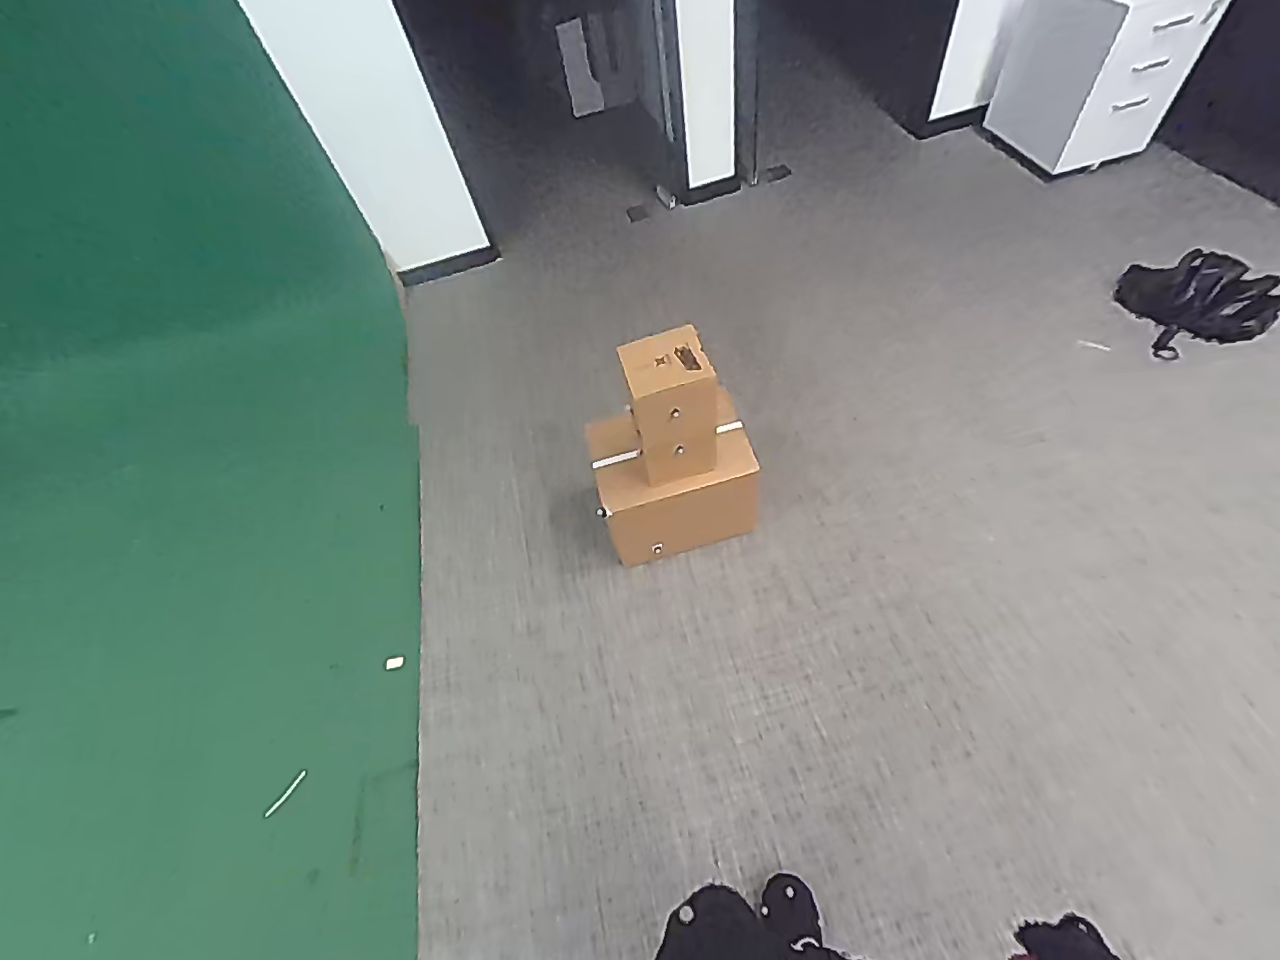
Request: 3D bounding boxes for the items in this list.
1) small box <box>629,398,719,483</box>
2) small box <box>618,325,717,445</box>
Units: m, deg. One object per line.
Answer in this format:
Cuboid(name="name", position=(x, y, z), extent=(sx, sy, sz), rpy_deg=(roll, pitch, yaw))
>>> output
Cuboid(name="small box", position=(0.087, -0.116, 1.331), extent=(0.179, 0.176, 0.168), rpy_deg=(-17, 56, -2))
Cuboid(name="small box", position=(0.066, -0.204, 1.193), extent=(0.179, 0.176, 0.168), rpy_deg=(-18, 56, 1))
